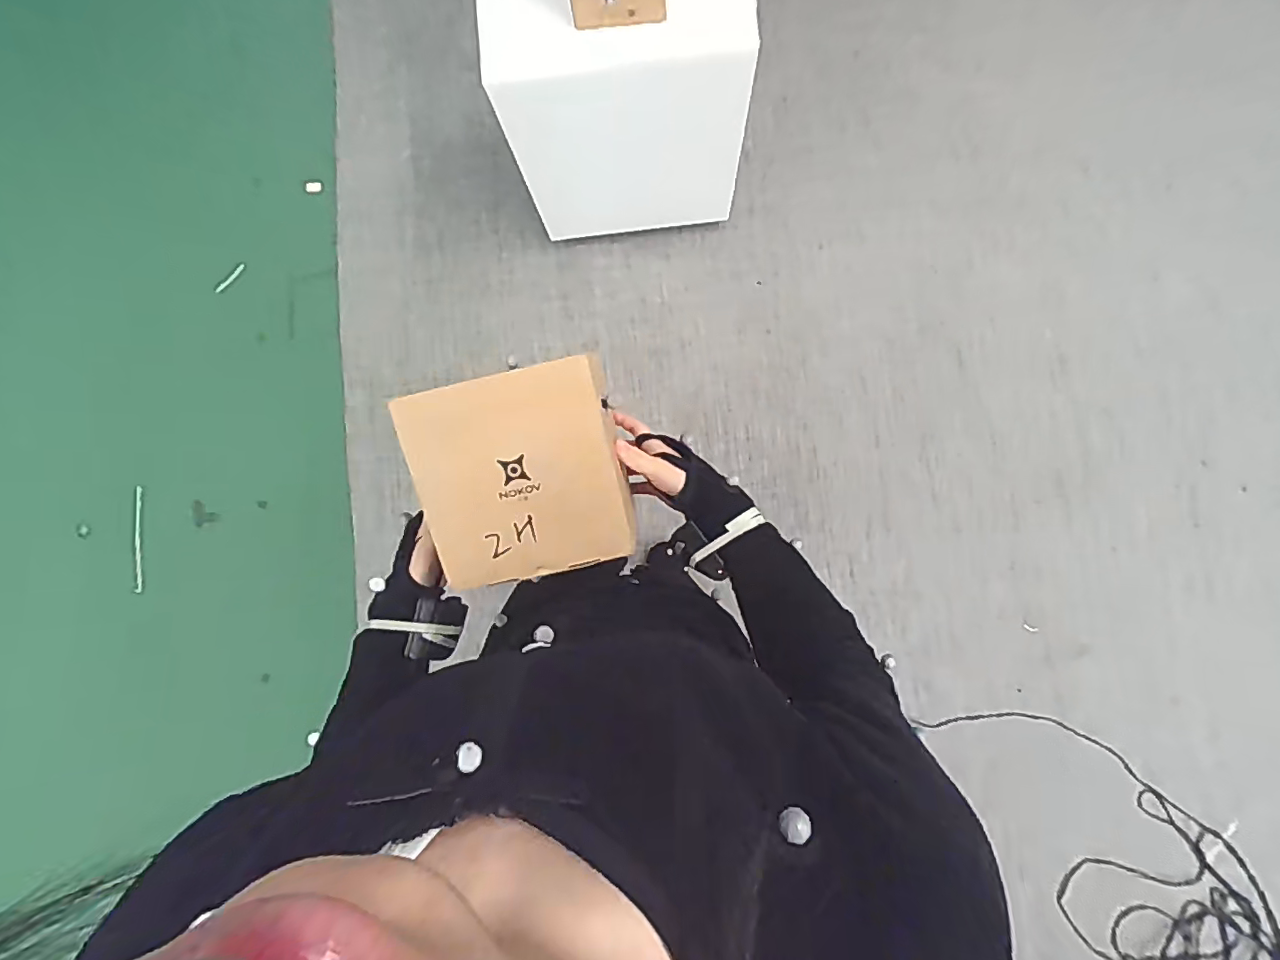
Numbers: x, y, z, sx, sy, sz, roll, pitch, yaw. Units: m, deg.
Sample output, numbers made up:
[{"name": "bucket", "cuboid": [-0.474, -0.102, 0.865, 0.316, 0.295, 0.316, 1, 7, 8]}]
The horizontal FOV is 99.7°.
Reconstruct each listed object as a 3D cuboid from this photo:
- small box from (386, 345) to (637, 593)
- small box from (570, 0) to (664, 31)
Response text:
[{"name": "small box", "cuboid": [-0.103, -0.021, 0.511, 0.168, 0.176, 0.179, -13, 103, 2]}, {"name": "small box", "cuboid": [-0.046, -0.906, 0.900, 0.168, 0.176, 0.179, -3, 84, 3]}]
